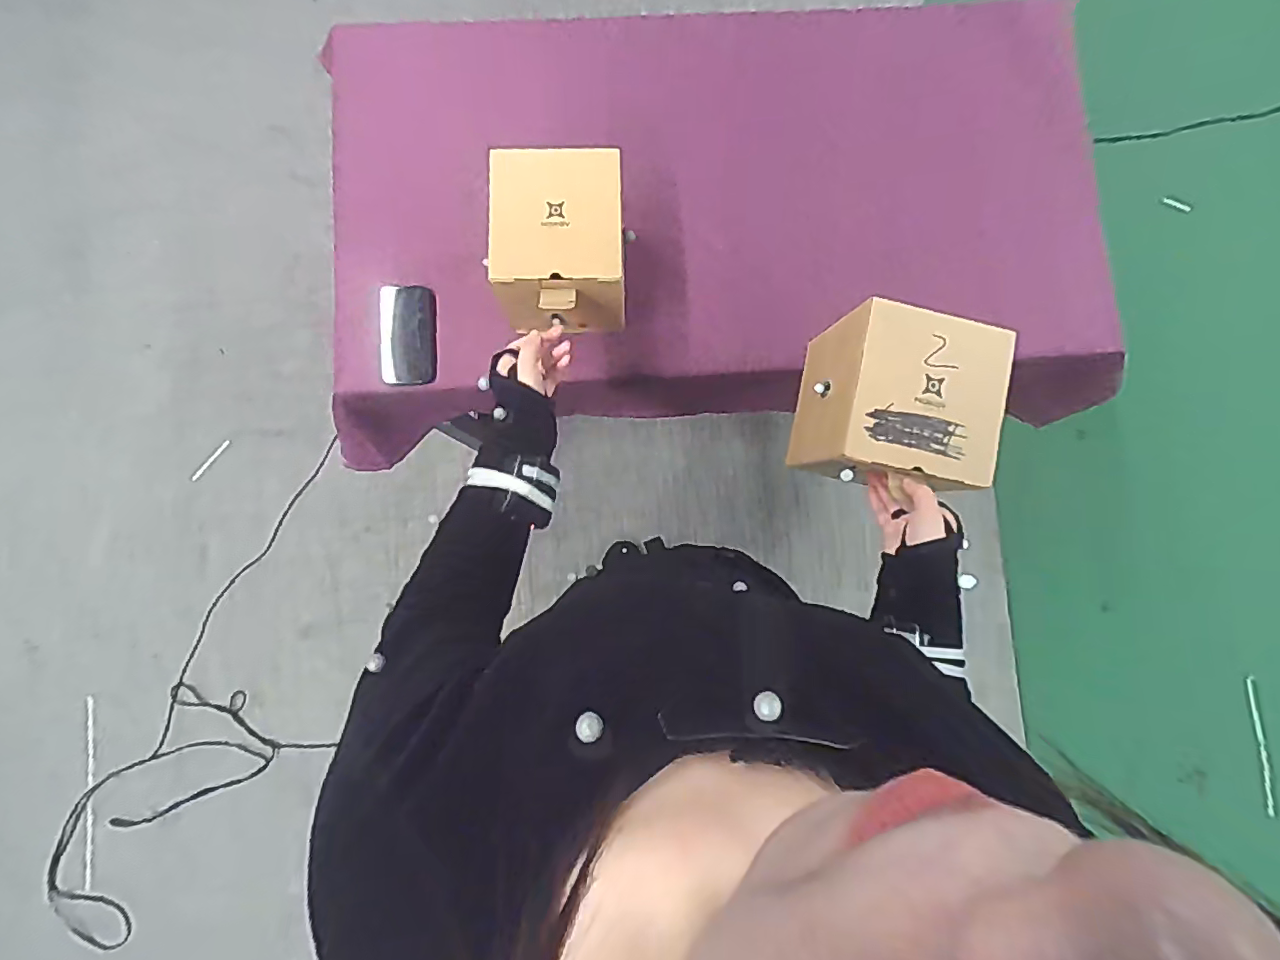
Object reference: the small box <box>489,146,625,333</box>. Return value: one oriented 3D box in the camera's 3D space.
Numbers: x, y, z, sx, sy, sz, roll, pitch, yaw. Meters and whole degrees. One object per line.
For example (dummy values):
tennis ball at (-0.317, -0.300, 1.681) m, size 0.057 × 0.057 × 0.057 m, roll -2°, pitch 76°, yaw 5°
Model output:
small box at (-0.106, -0.321, 0.747) m, size 0.168 × 0.176 × 0.179 m, roll 0°, pitch 84°, yaw -2°
